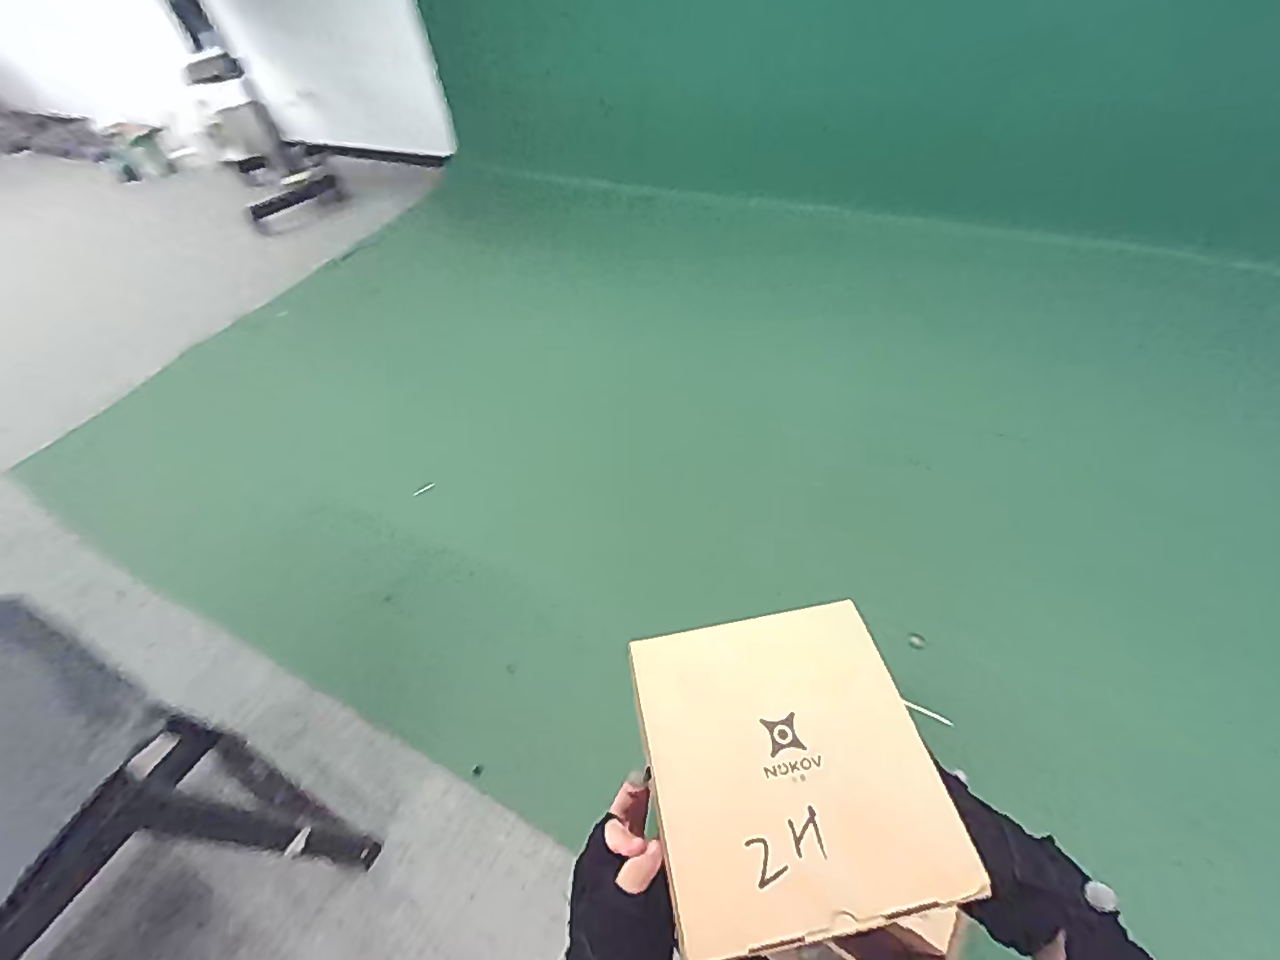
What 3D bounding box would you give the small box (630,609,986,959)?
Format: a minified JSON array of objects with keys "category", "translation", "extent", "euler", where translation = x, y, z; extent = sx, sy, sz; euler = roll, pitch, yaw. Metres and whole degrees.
[{"category":"small box","translation":[0.089,0.222,0.388],"extent":[0.168,0.176,0.179],"euler":[-10,49,-6]}]
